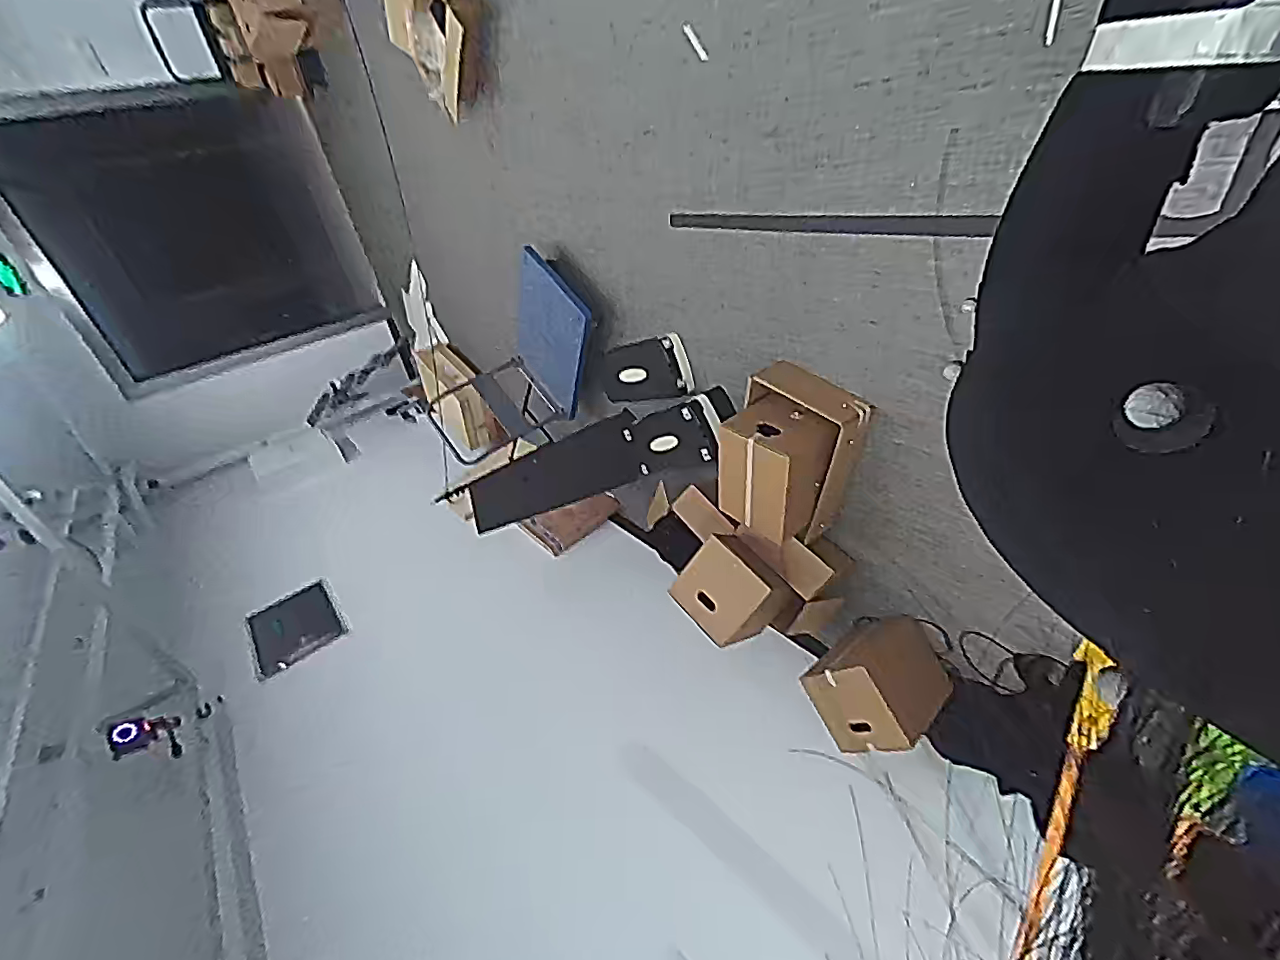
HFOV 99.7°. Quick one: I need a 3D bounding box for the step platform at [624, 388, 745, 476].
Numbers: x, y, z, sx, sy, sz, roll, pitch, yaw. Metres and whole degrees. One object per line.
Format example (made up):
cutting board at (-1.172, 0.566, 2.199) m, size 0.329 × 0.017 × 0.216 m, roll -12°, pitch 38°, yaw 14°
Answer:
step platform at (0.184, -0.210, 2.591) m, size 0.684 × 0.204 × 0.286 m, roll -13°, pitch 105°, yaw 60°
